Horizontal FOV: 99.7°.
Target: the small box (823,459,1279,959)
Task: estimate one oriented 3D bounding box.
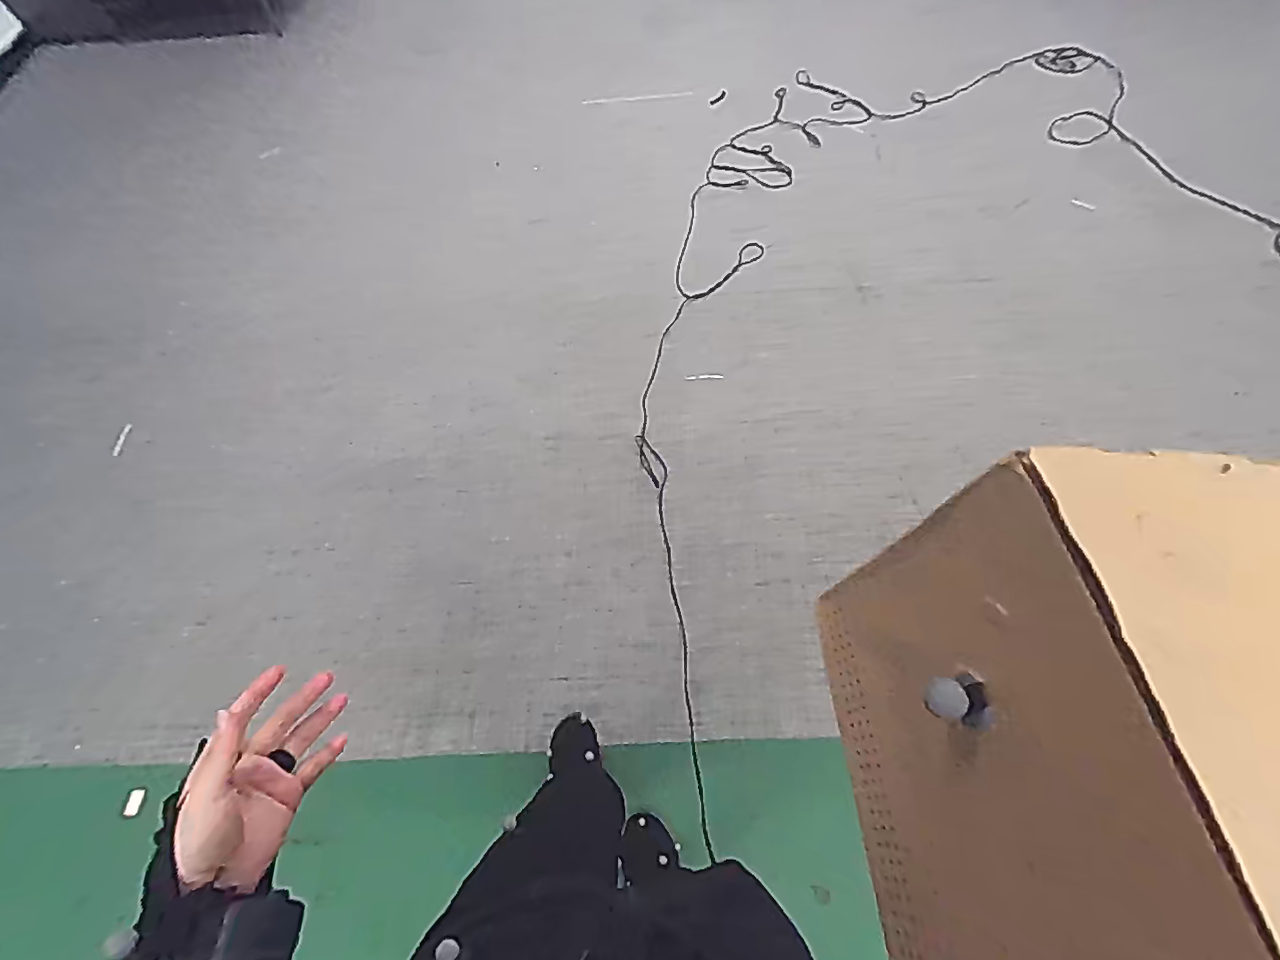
[{"bbox_3d":[0.203,0.111,0.235,0.168,0.176,0.179,1,58,-10],"label":"small box"}]
